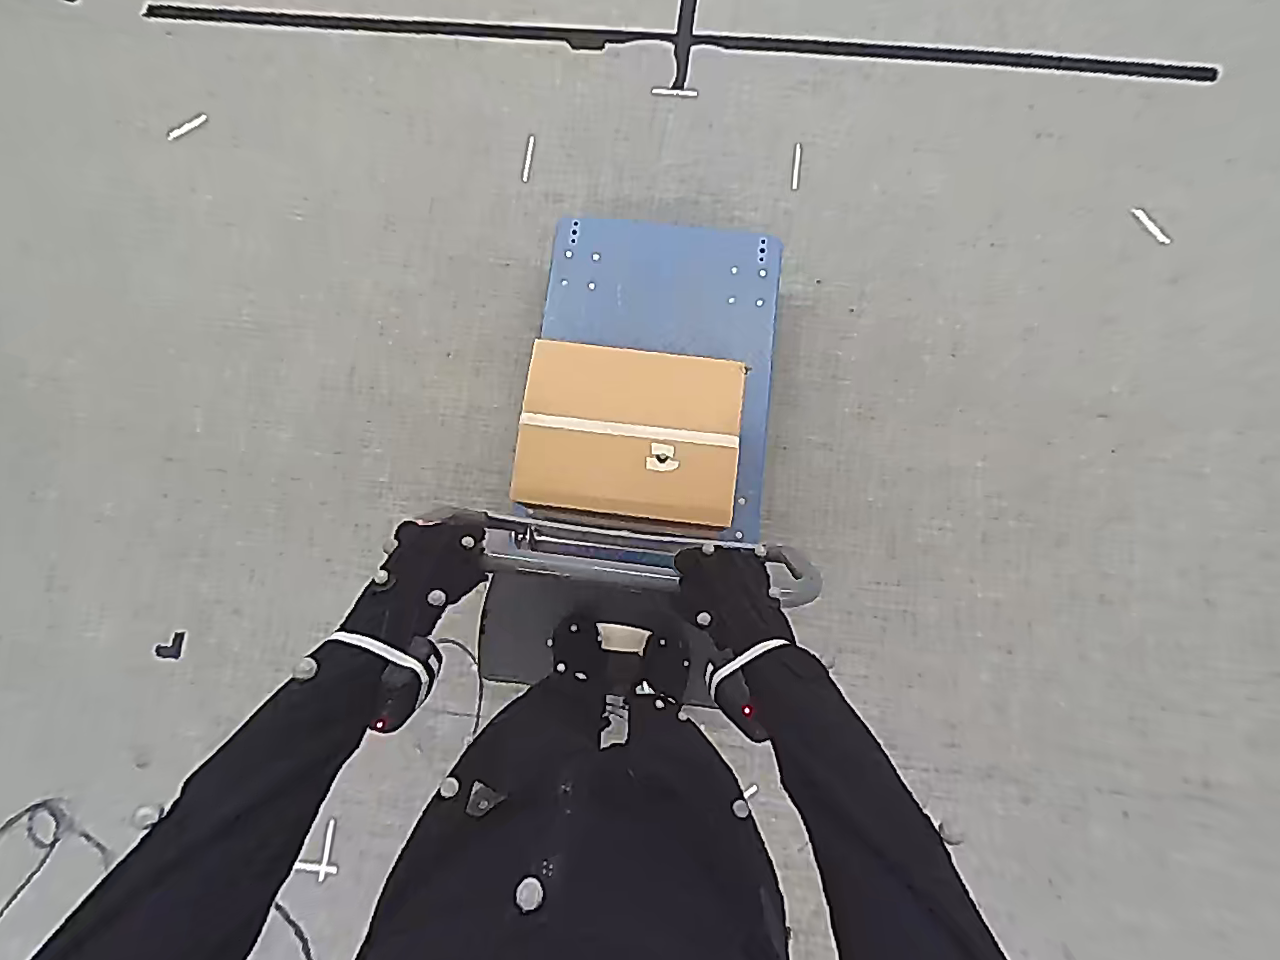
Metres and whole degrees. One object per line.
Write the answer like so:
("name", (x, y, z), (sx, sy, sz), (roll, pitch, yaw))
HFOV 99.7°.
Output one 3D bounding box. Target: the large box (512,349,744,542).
("large box", (-0.019, -0.052, 1.133), (0.408, 0.320, 0.320), (7, 81, 2))
